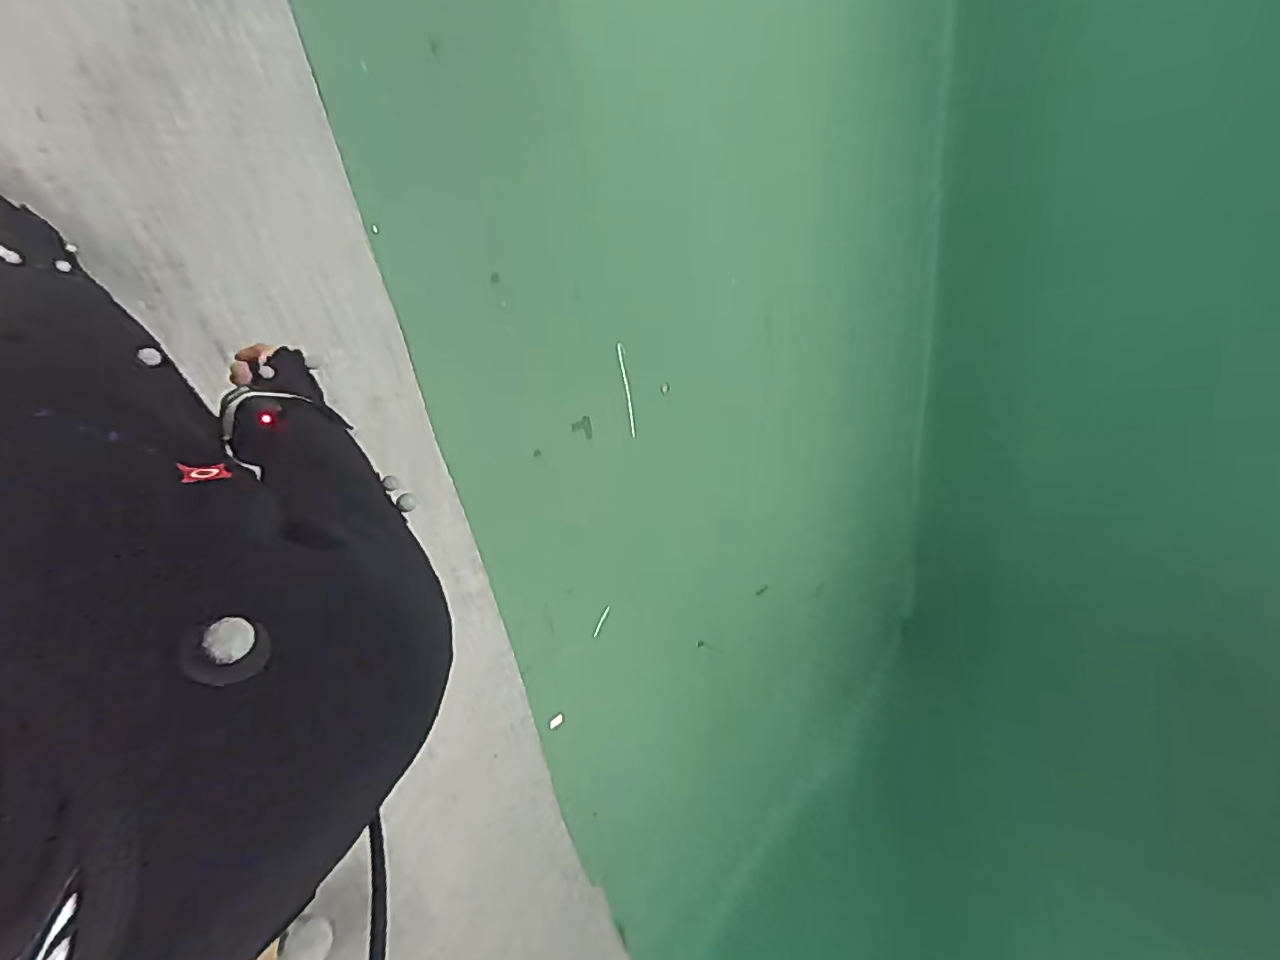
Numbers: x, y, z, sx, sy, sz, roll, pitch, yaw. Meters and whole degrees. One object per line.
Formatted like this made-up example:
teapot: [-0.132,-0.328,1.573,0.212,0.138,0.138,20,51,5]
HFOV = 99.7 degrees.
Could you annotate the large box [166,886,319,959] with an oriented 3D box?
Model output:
large box: [-0.946,1.251,1.200,0.408,0.320,0.320,-24,117,-36]
